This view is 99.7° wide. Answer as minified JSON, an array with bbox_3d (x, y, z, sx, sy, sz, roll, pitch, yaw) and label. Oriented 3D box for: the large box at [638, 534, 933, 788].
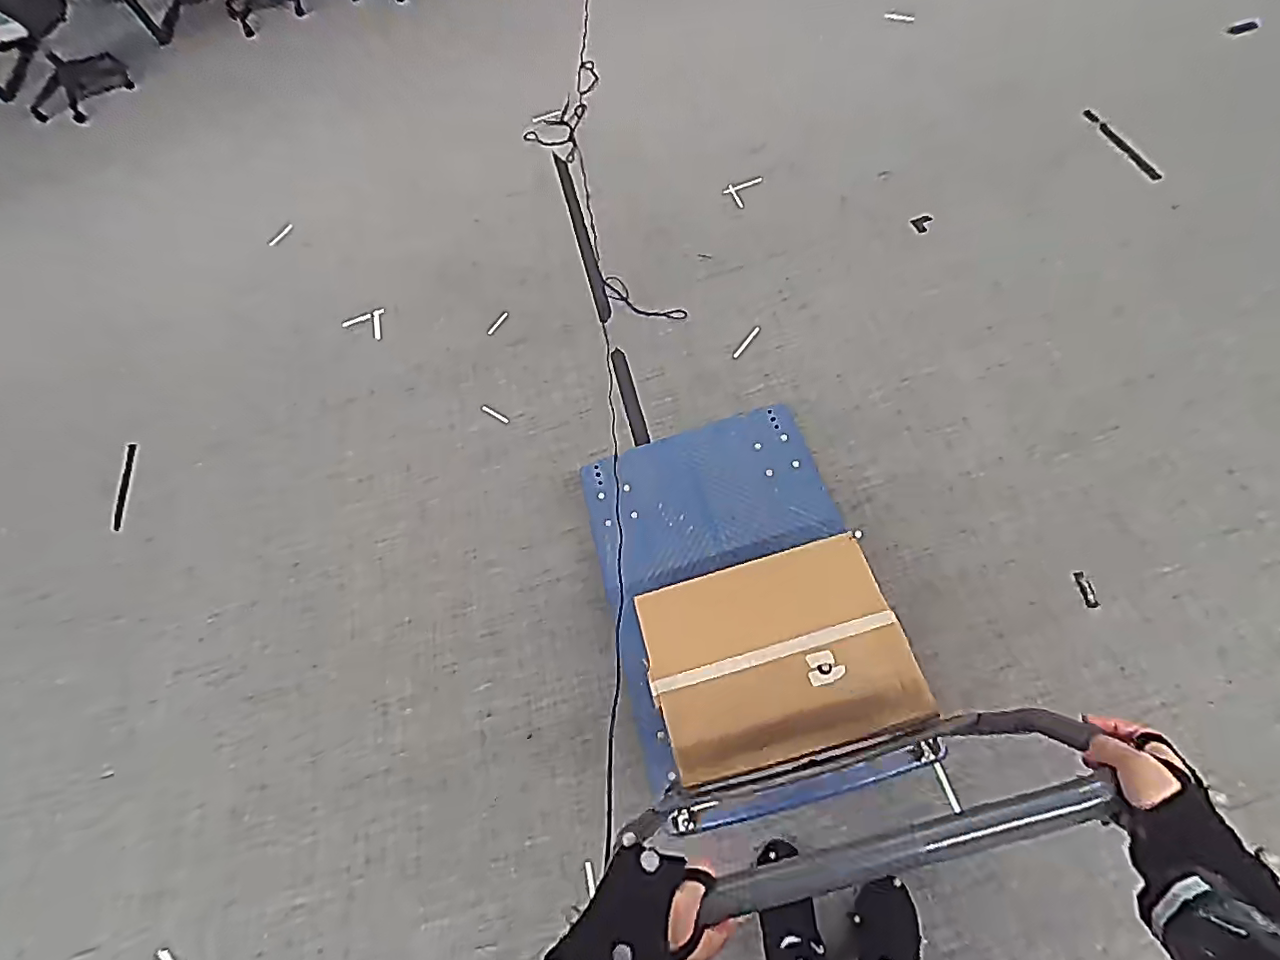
[{"bbox_3d":[0.245,0.349,1.024,0.408,0.320,0.320,-17,63,2],"label":"large box"}]
